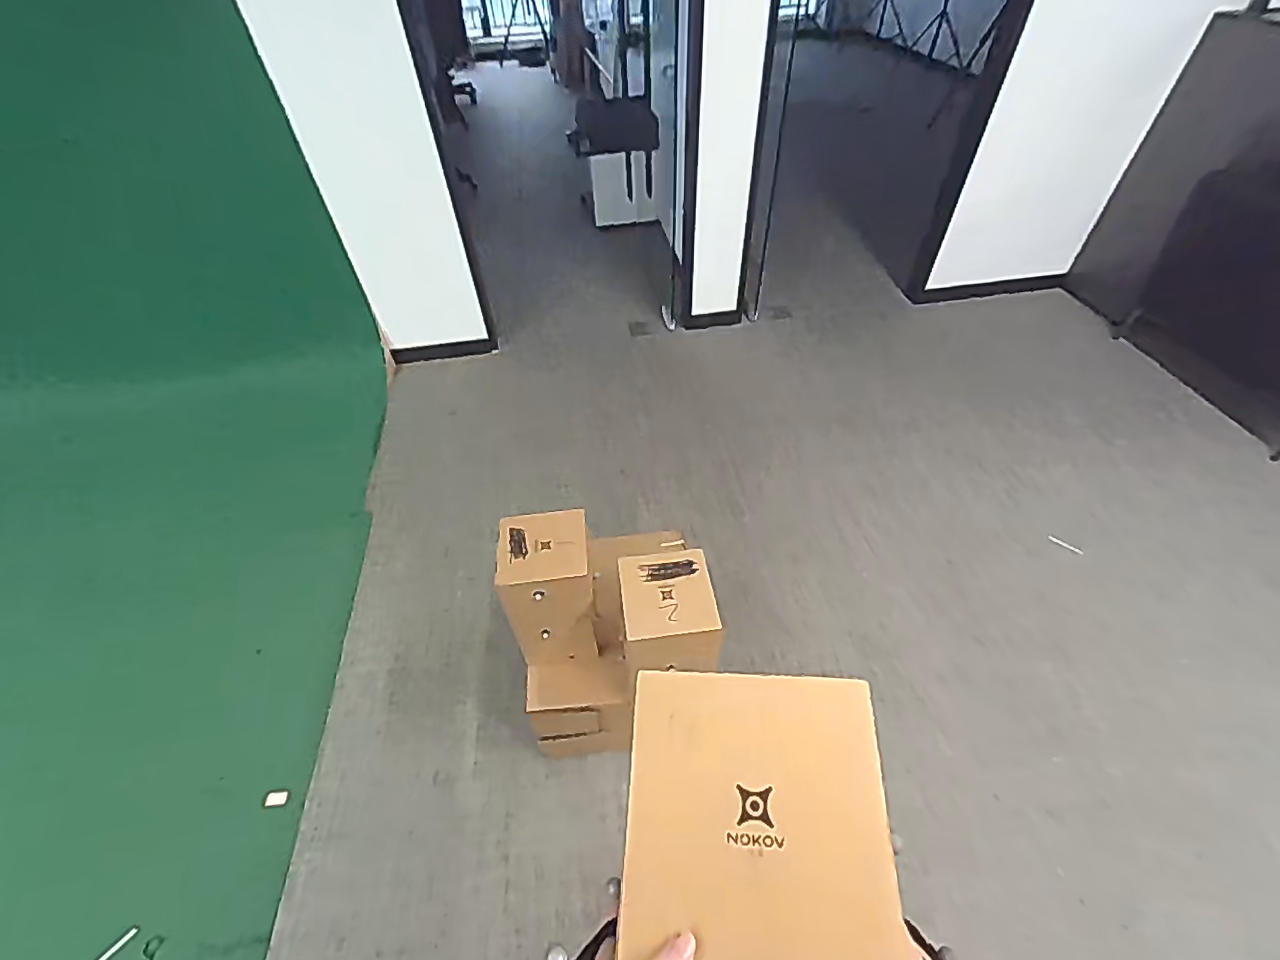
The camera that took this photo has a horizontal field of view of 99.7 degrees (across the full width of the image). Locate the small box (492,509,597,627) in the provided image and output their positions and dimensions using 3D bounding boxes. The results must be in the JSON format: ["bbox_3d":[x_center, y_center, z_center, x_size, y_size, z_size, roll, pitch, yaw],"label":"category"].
[{"bbox_3d":[-0.189,0.183,1.104,0.179,0.176,0.168,-8,47,-3],"label":"small box"}]

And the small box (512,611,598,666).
[{"bbox_3d":[-0.189,0.296,1.227,0.168,0.176,0.179,-7,46,-3],"label":"small box"}]

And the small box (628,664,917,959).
[{"bbox_3d":[0.087,0.252,0.415,0.168,0.176,0.179,-1,59,7],"label":"small box"}]

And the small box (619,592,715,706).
[{"bbox_3d":[0.052,0.362,1.153,0.179,0.176,0.168,-7,46,-4],"label":"small box"}]
